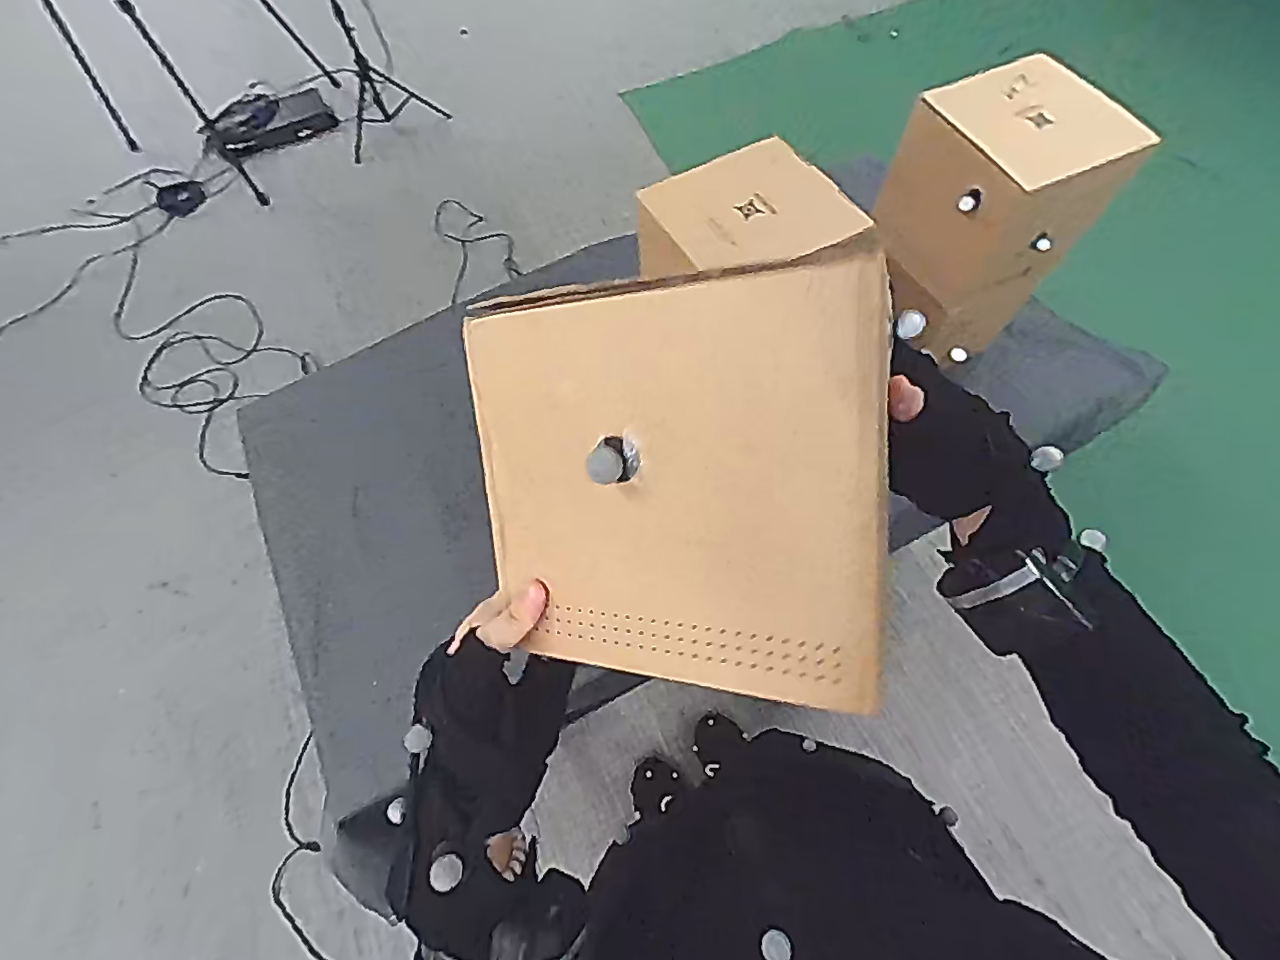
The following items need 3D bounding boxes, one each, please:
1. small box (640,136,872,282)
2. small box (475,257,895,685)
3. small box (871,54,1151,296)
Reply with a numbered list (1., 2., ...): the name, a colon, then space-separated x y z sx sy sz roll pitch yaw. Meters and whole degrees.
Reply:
1. small box: 0.114 -0.233 0.604 0.179 0.176 0.168 -27 66 -9
2. small box: 0.041 -0.013 0.299 0.179 0.168 0.176 2 106 26
3. small box: 0.412 -0.345 0.639 0.168 0.176 0.179 -23 66 -7
